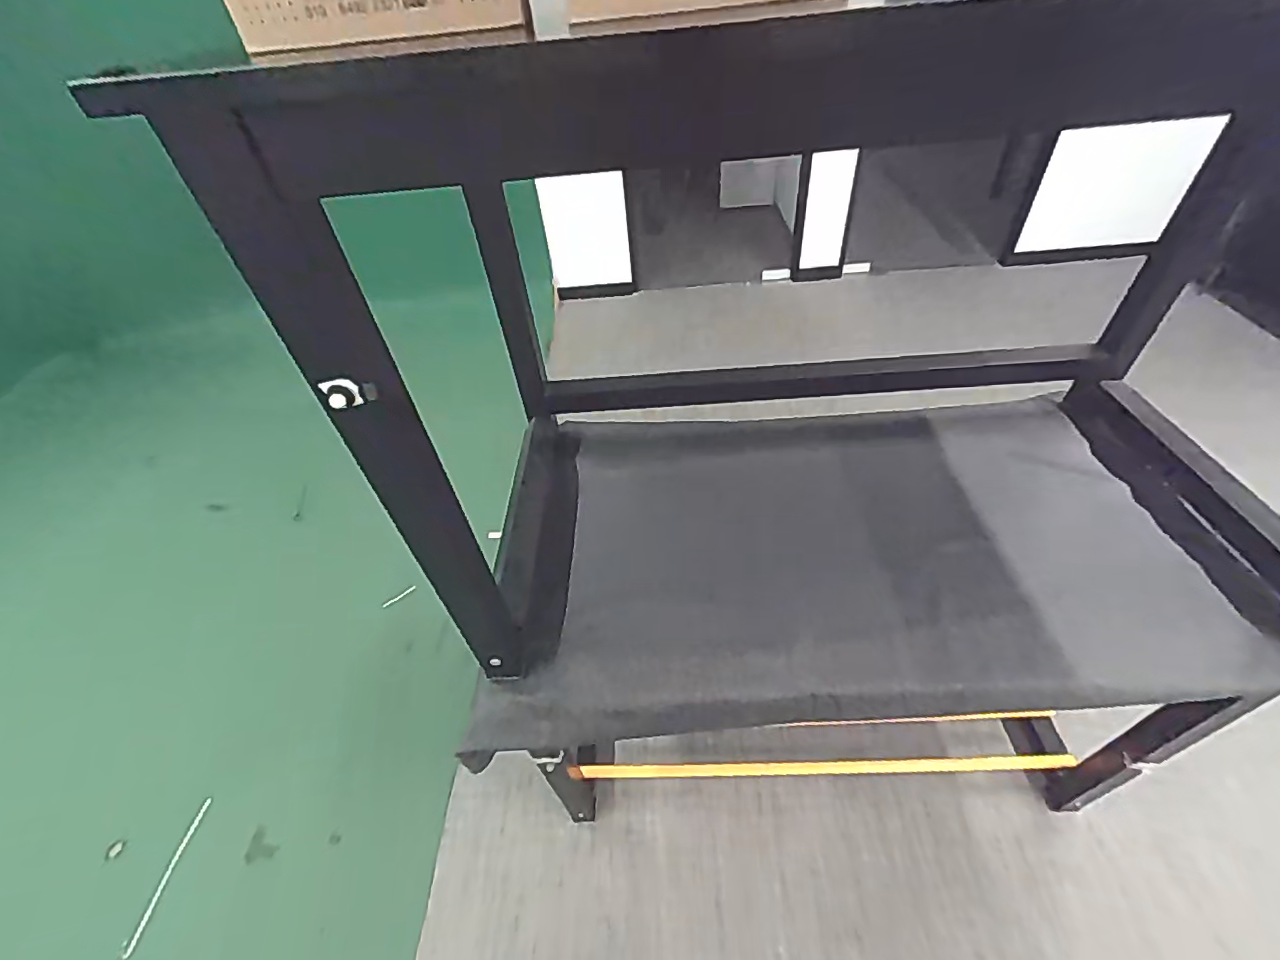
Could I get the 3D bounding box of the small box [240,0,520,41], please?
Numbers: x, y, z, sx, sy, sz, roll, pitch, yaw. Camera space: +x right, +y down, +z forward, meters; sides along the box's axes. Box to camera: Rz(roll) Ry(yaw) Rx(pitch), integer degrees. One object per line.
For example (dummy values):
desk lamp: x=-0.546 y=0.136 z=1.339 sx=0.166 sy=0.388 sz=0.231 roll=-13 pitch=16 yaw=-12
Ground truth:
small box: x=-0.175 y=-0.391 z=0.338 sx=0.168 sy=0.176 sz=0.179 roll=-7 pitch=44 yaw=-2
